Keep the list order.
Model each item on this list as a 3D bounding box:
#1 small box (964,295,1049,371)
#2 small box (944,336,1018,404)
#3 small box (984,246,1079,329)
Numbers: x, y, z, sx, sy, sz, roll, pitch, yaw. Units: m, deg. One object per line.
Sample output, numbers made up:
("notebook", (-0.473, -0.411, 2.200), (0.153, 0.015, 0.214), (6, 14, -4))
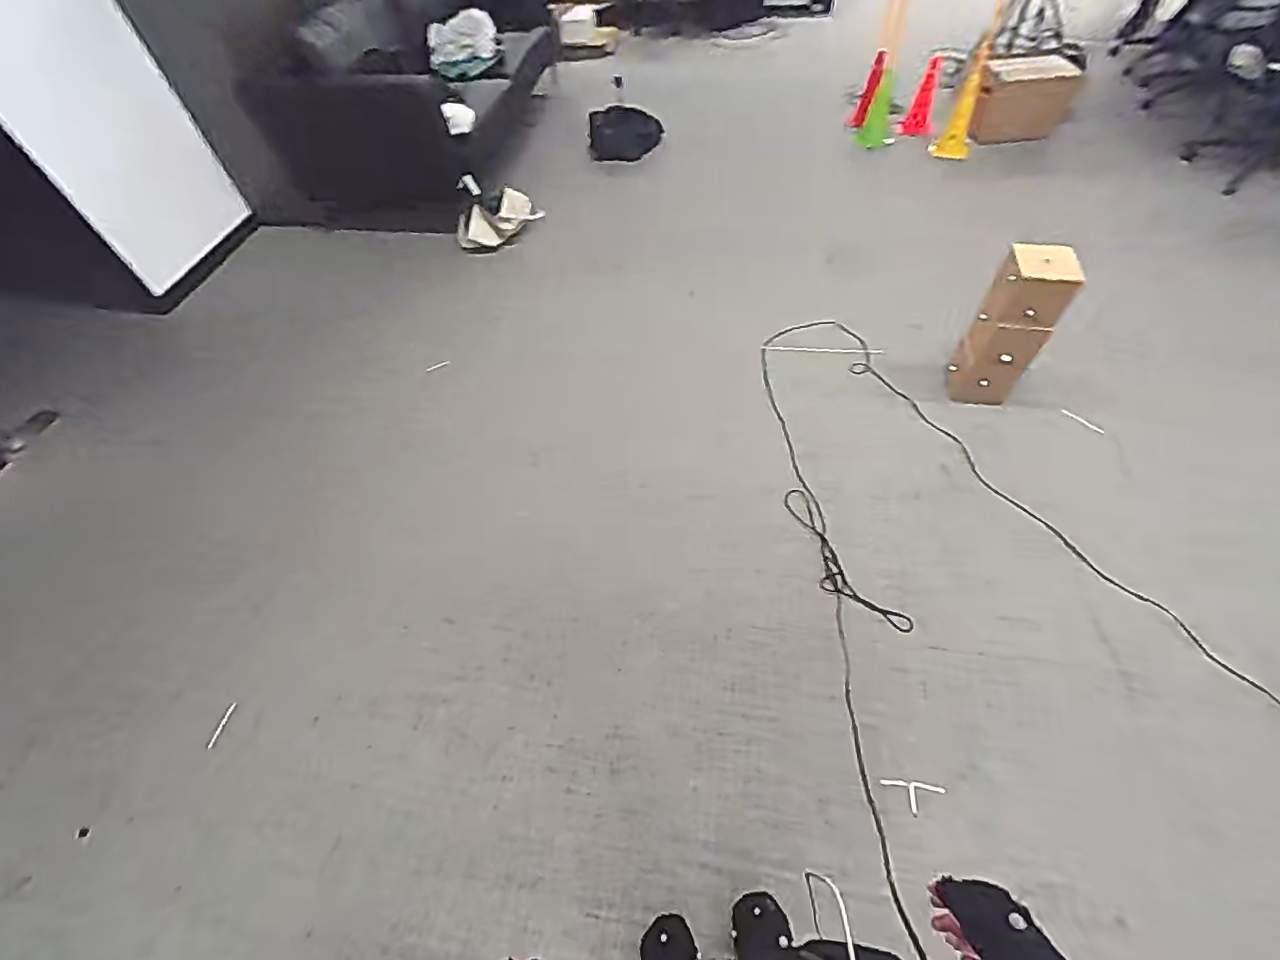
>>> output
("small box", (1.198, -0.485, 1.784), (0.168, 0.176, 0.179), (7, 55, 10))
("small box", (1.201, -0.388, 1.917), (0.179, 0.176, 0.168), (6, 54, 10))
("small box", (1.189, -0.589, 1.659), (0.168, 0.176, 0.179), (7, 55, 9))
